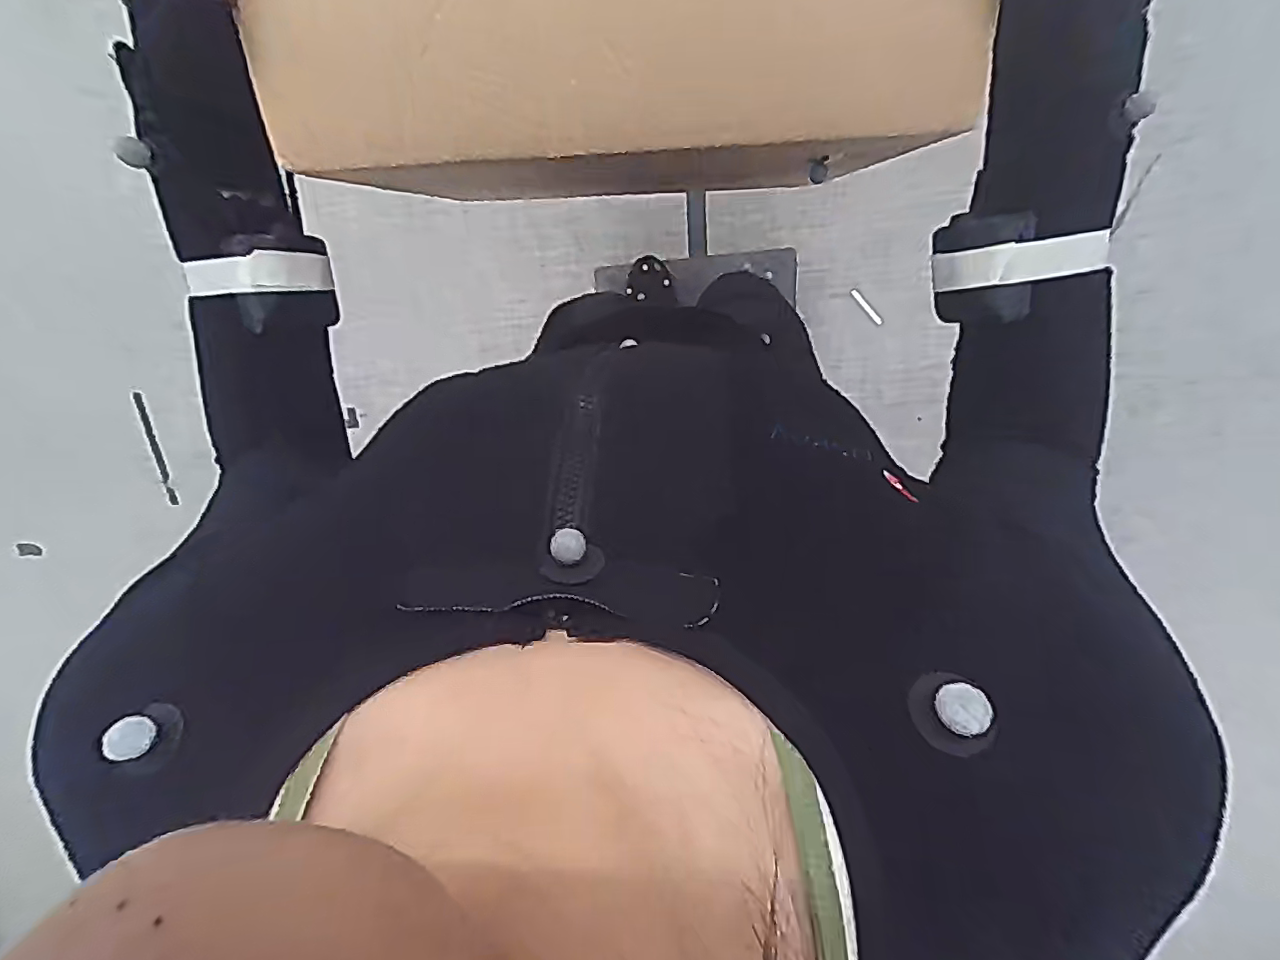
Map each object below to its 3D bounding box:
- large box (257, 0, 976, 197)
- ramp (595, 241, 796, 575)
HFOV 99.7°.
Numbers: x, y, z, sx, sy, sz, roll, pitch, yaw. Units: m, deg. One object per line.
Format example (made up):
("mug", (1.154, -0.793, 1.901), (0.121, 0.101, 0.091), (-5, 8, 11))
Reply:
("large box", (-0.013, -0.399, 0.399), (0.408, 0.320, 0.320), (-1, 114, 3))
("ramp", (0.184, -0.124, 1.546), (0.509, 0.206, 0.991), (-5, 110, 7))
